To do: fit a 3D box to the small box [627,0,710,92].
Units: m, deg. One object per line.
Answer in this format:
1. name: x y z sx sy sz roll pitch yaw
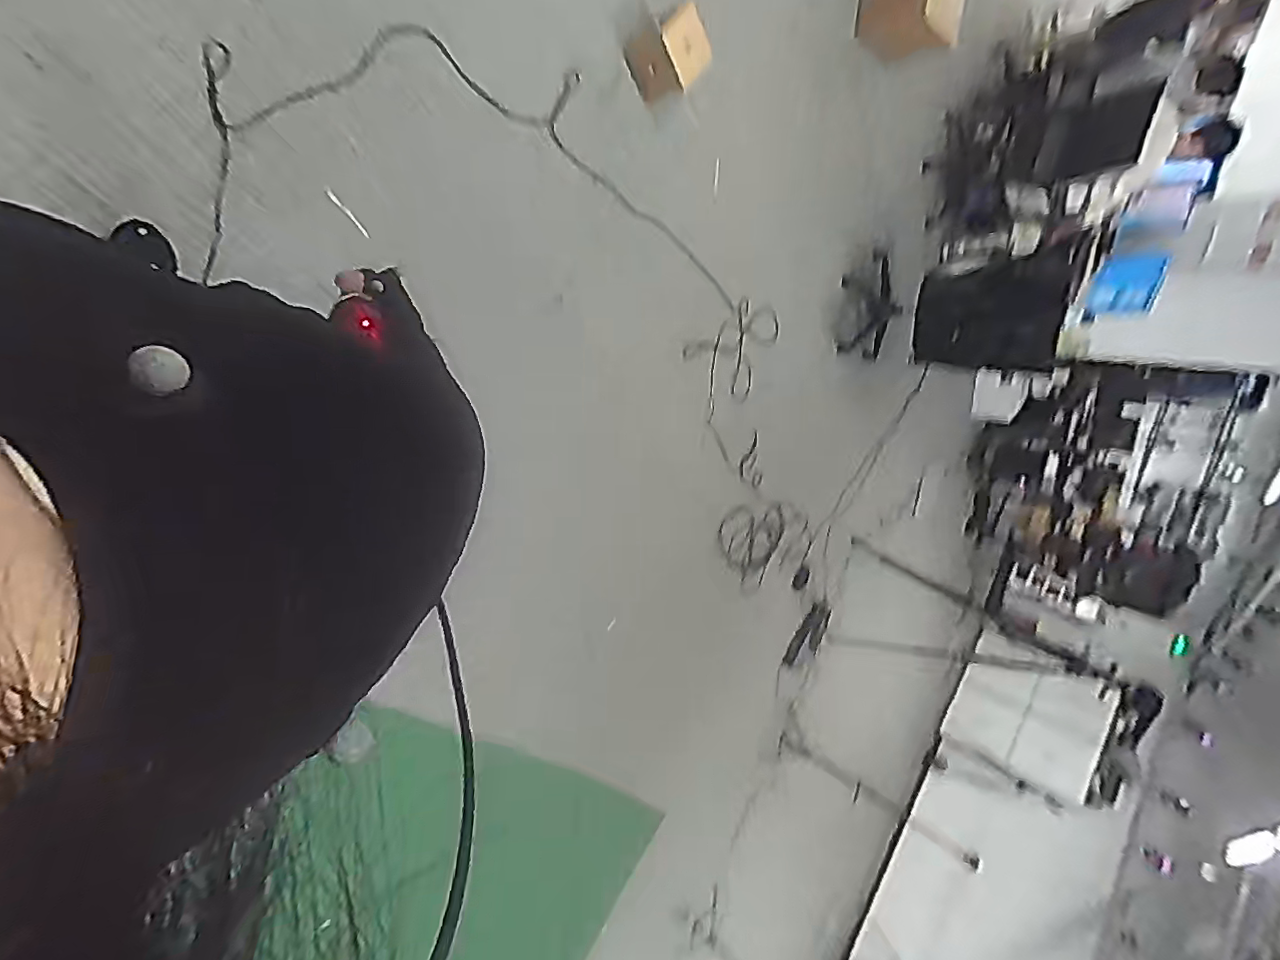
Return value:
1. small box: 0.081 -1.360 1.690 0.179 0.176 0.168 -57 137 -13
